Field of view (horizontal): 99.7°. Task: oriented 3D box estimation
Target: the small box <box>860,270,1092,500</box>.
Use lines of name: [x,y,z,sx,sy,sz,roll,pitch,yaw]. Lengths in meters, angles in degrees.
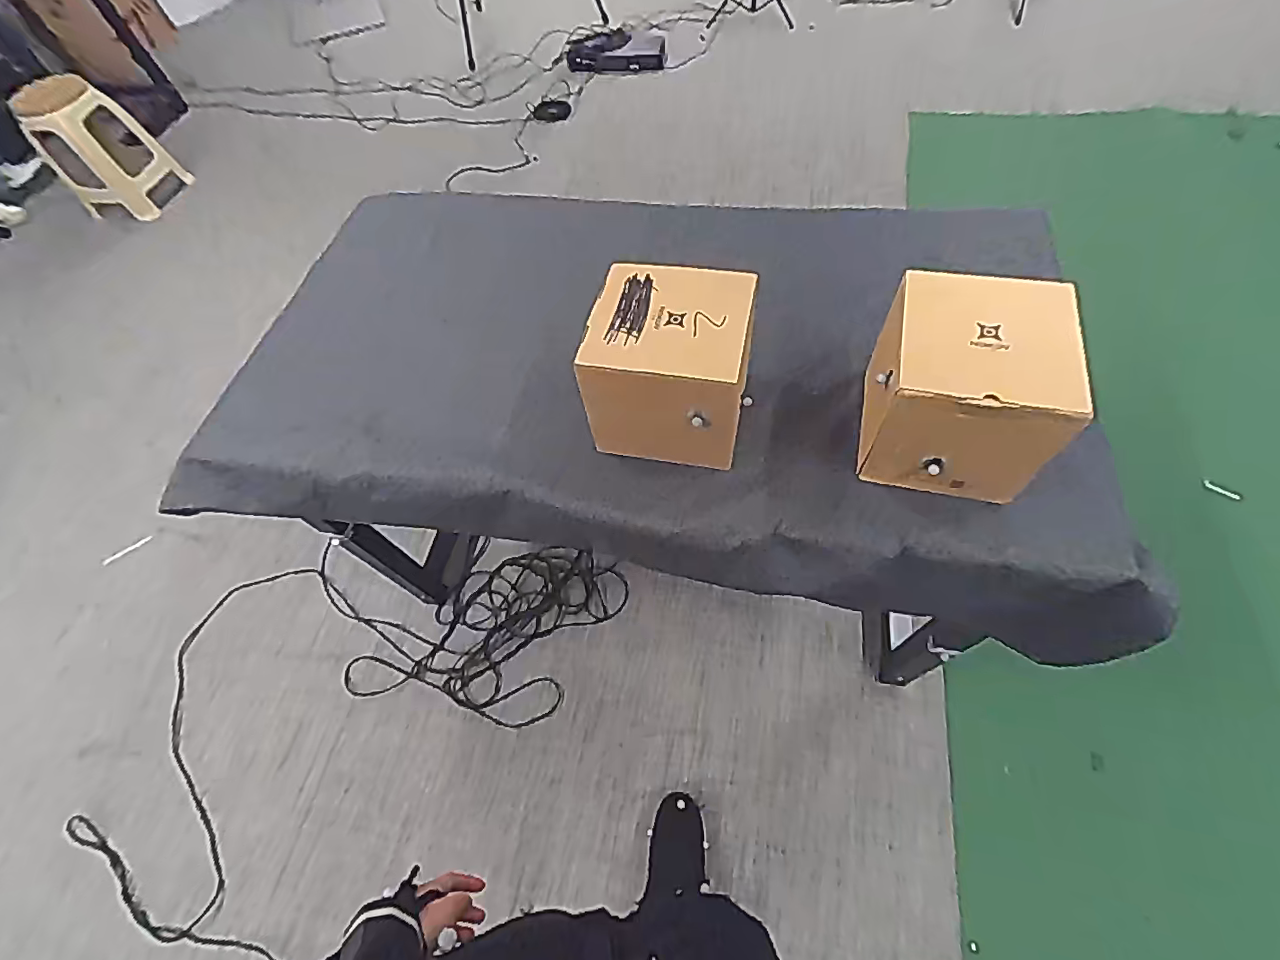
small box: [0.355,-0.103,0.607,0.168,0.176,0.179,10,62,13]
